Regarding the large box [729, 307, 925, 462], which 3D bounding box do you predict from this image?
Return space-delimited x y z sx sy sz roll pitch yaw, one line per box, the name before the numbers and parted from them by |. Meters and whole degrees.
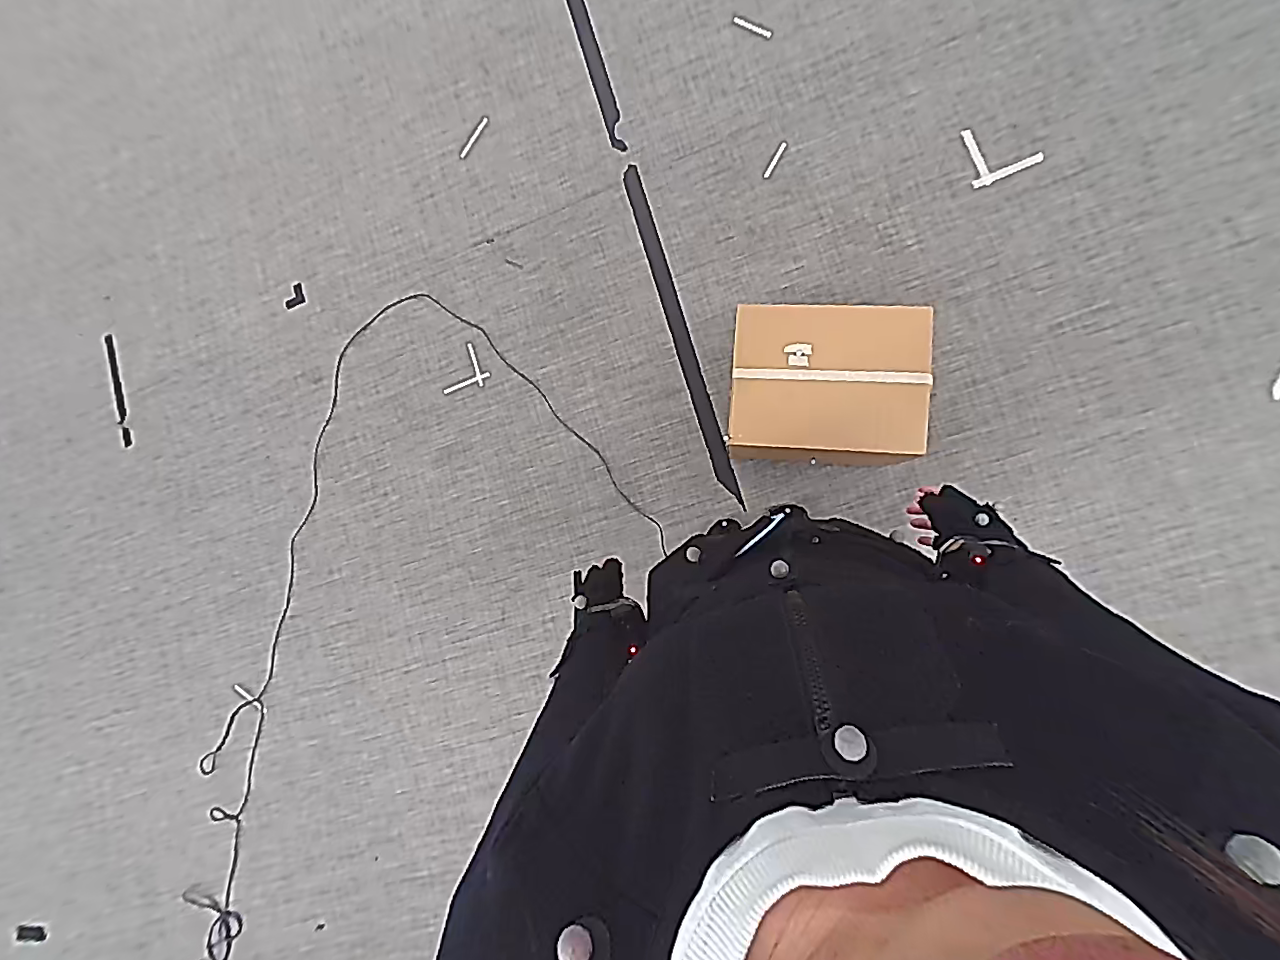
large box | 0.429 -0.212 1.311 0.408 0.320 0.320 3 86 11
